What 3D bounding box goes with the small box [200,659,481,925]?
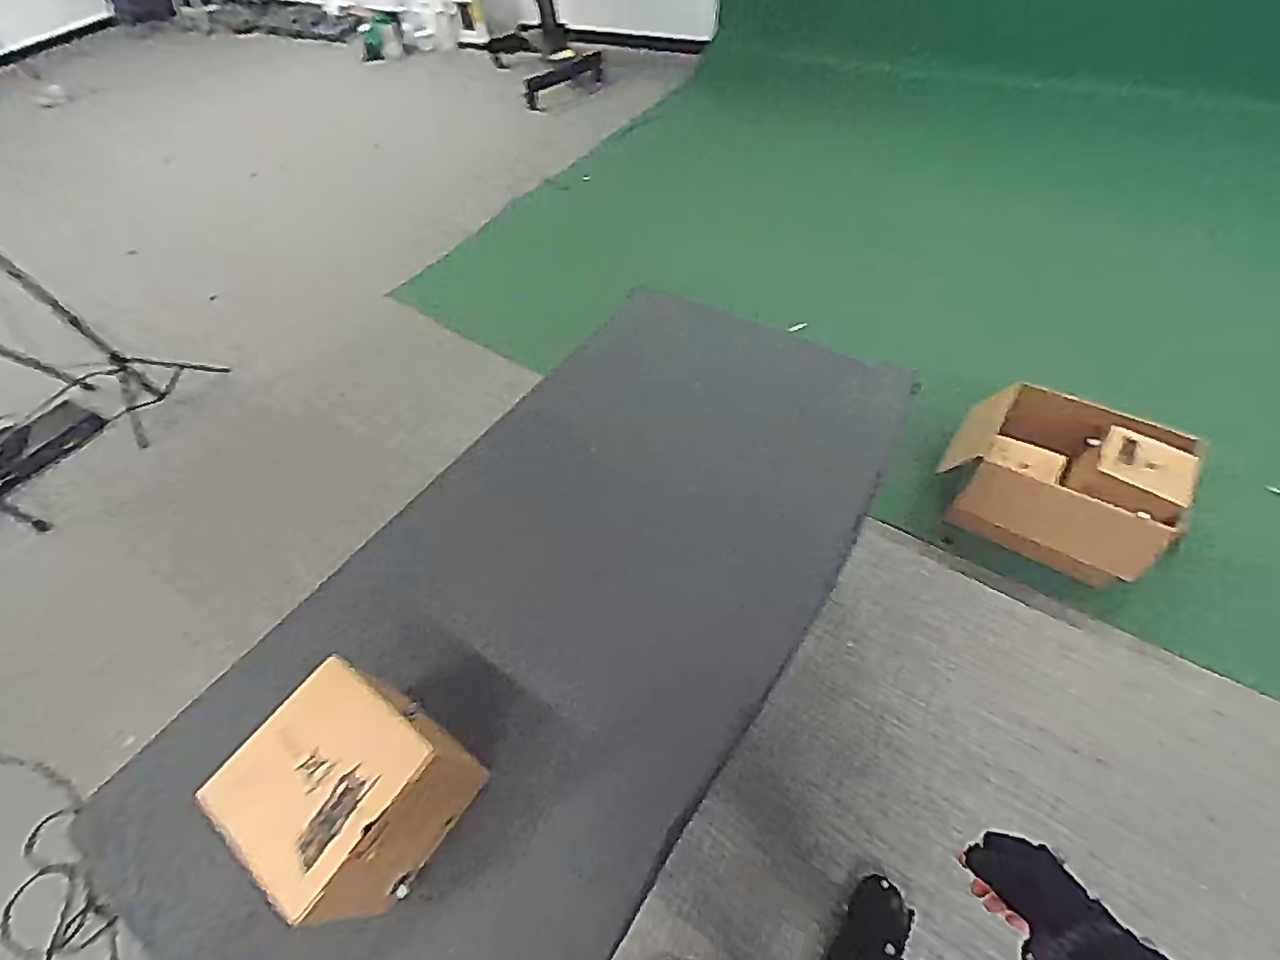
[{"bbox_3d":[-0.308,0.334,0.594,0.179,0.176,0.168,27,62,24],"label":"small box"}]
